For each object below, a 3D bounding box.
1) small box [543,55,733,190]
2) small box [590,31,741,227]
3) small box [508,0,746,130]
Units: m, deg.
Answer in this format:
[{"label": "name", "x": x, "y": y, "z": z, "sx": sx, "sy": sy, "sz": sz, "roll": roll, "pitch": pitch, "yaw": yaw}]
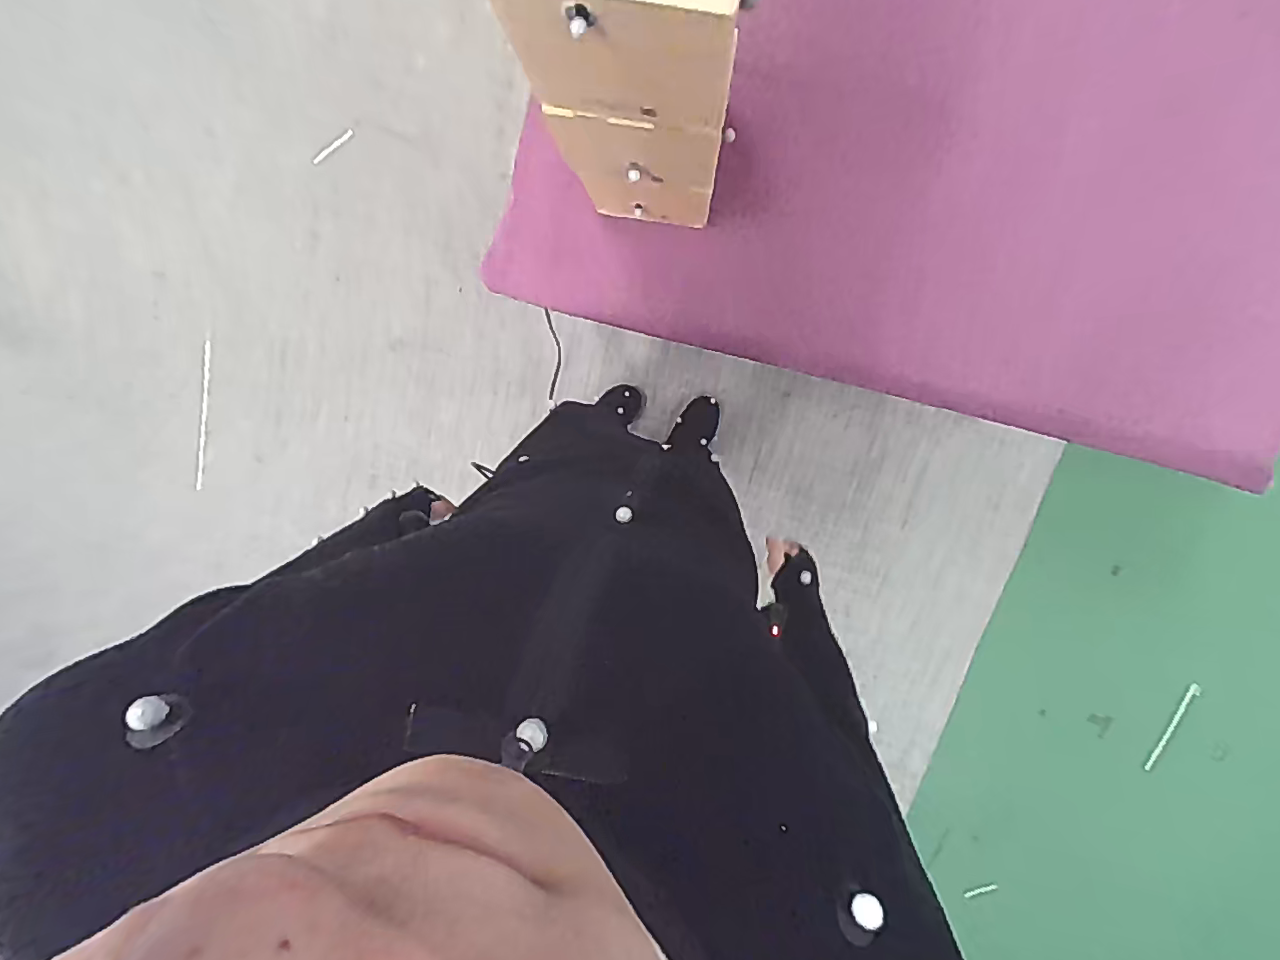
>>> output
[{"label": "small box", "x": 0.009, "y": -0.424, "z": 0.549, "sx": 0.168, "sy": 0.176, "sz": 0.179, "roll": 9, "pitch": 102, "yaw": 2}, {"label": "small box", "x": 0.026, "y": -0.456, "z": 0.709, "sx": 0.168, "sy": 0.176, "sz": 0.179, "roll": 9, "pitch": 102, "yaw": 2}, {"label": "small box", "x": -0.001, "y": -0.393, "z": 0.387, "sx": 0.168, "sy": 0.176, "sz": 0.179, "roll": 11, "pitch": 101, "yaw": 2}]
